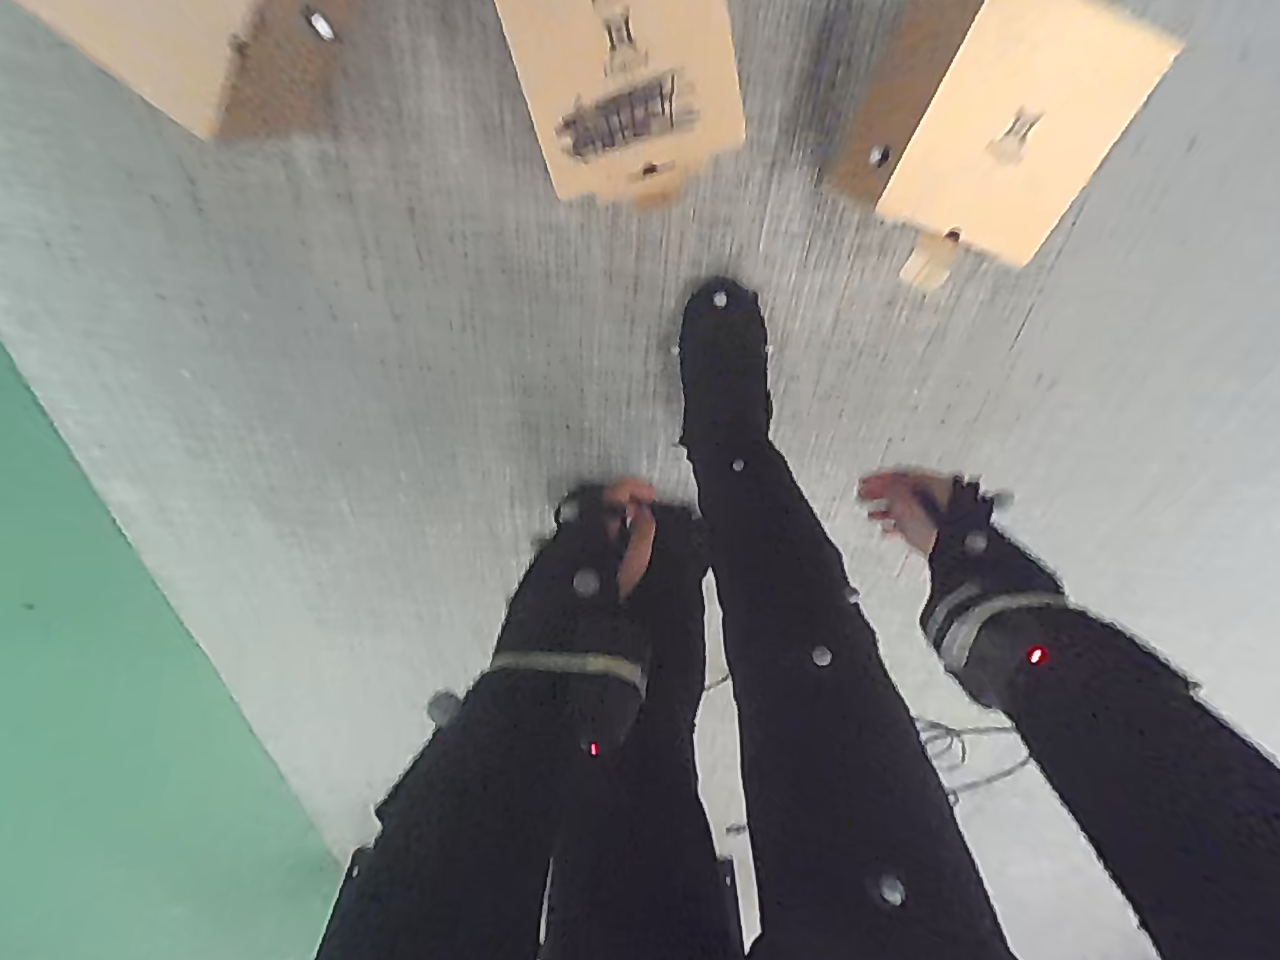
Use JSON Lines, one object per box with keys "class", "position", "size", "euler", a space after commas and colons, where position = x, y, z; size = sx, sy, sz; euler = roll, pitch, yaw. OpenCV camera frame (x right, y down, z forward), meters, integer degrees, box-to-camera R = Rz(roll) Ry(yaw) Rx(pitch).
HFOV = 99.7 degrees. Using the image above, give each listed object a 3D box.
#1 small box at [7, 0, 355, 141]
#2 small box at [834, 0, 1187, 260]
{"class": "small box", "position": [-0.366, -0.418, 0.439], "size": [0.179, 0.176, 0.168], "euler": [34, 118, -21]}
{"class": "small box", "position": [0.307, -0.336, 0.500], "size": [0.168, 0.176, 0.179], "euler": [14, 126, -10]}
